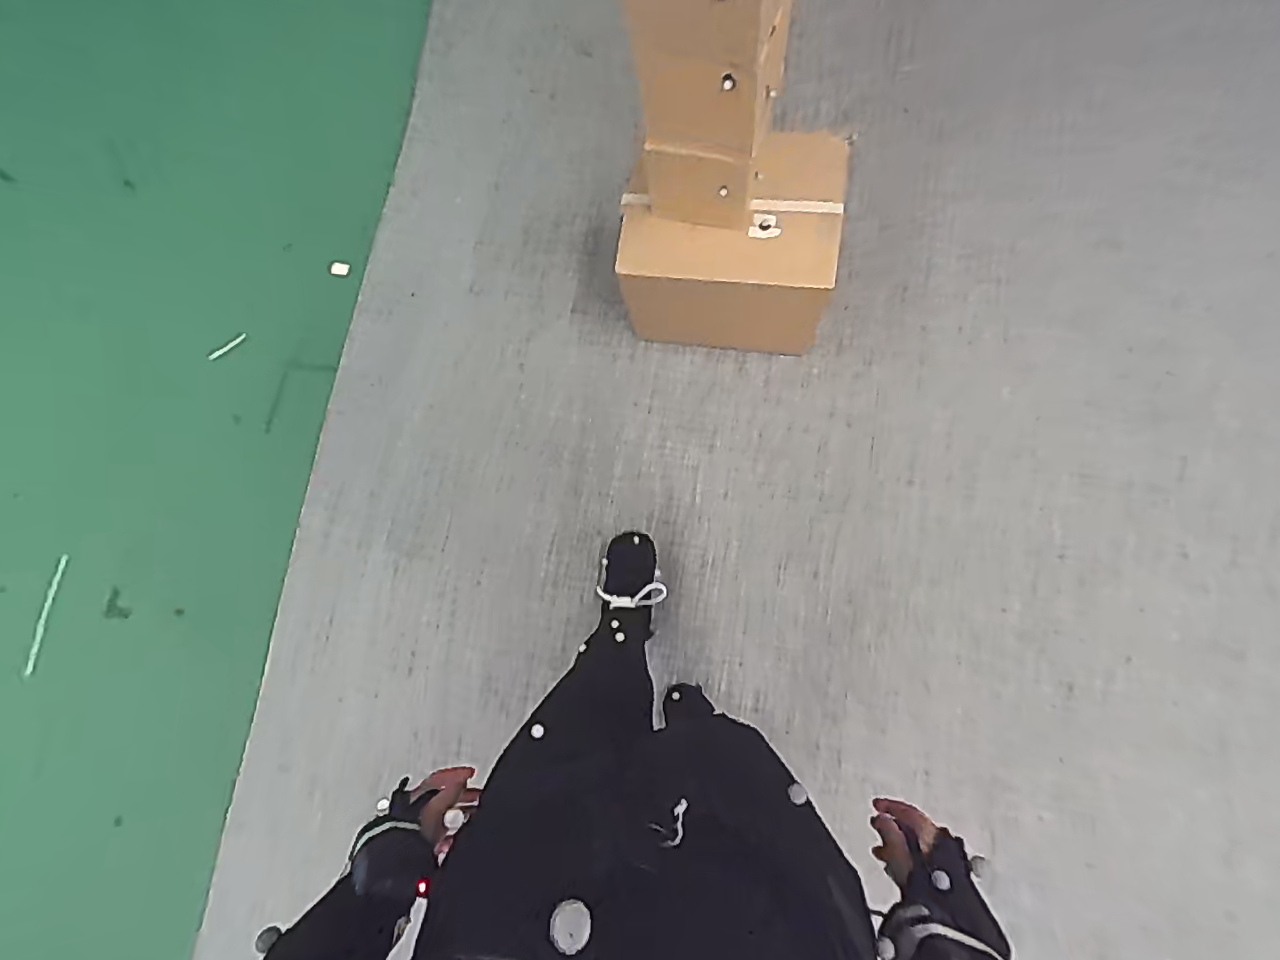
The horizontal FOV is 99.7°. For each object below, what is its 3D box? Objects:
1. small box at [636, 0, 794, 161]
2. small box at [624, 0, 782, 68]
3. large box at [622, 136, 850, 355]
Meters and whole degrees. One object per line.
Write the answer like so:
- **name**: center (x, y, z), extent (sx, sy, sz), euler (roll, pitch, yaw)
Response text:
- **small box**: center (0.107, -0.596, 0.773), extent (0.179, 0.176, 0.168), euler (17, 83, 9)
- **small box**: center (0.084, -0.617, 0.613), extent (0.179, 0.176, 0.168), euler (18, 82, 10)
- **large box**: center (0.193, -0.482, 1.158), extent (0.408, 0.320, 0.320), euler (7, 83, 8)
